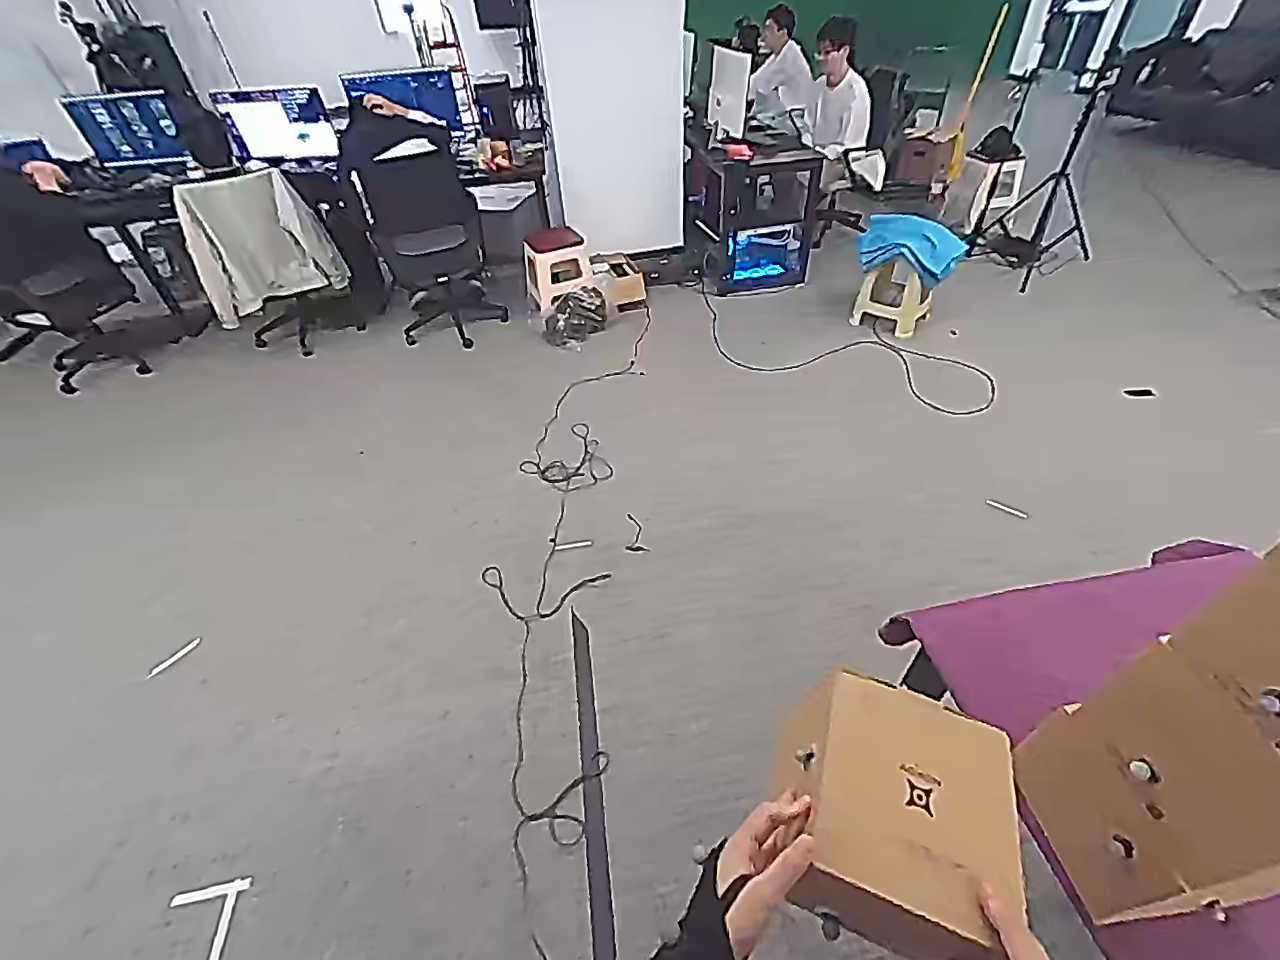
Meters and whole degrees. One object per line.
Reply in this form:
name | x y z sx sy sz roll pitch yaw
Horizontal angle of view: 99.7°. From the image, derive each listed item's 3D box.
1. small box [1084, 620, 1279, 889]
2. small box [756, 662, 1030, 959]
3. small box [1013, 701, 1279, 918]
small box | 0.567 0.242 0.484 0.179 0.176 0.168 -7 43 -1
small box | 0.222 0.312 0.513 0.168 0.176 0.179 20 49 8
small box | 0.568 0.361 0.599 0.168 0.176 0.179 -6 43 -1
